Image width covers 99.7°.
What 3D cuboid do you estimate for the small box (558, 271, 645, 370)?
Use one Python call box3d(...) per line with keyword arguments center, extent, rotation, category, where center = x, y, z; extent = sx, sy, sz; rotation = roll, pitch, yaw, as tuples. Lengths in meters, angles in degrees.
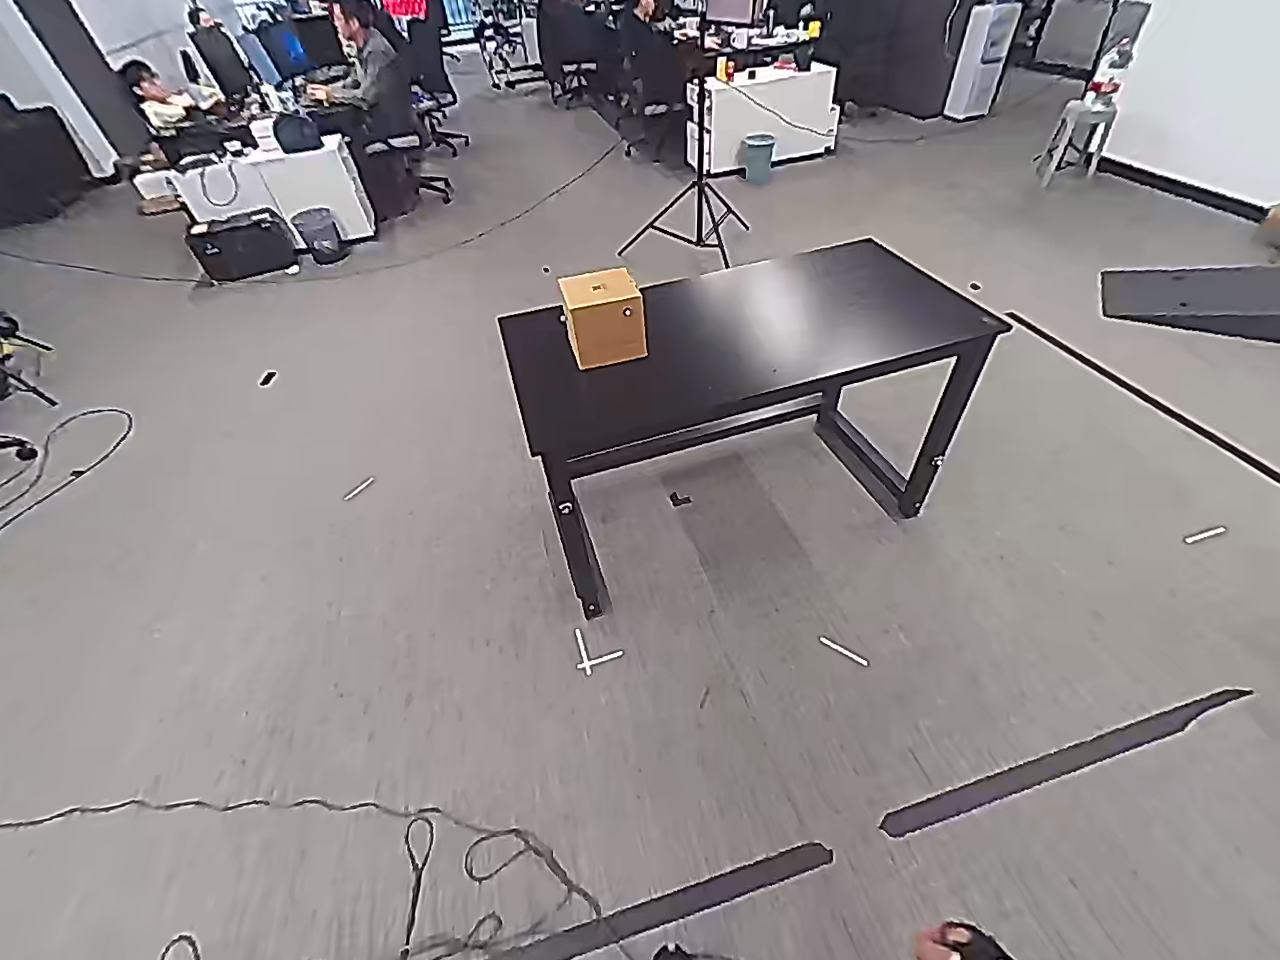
box3d(center=(-0.095, -0.397, 1.357), extent=(0.179, 0.176, 0.168), rotation=(-14, 47, -8), category="small box")
